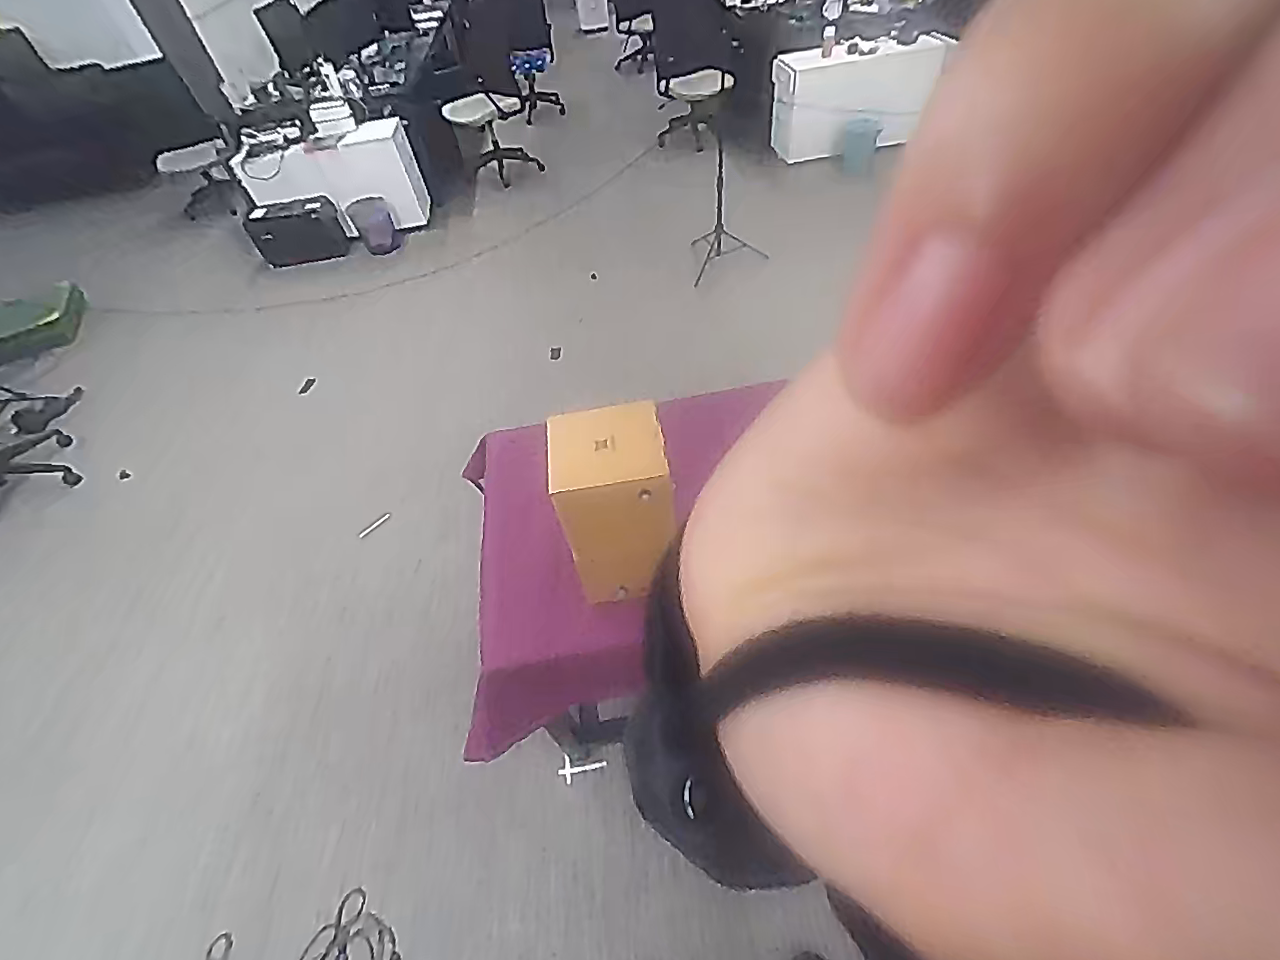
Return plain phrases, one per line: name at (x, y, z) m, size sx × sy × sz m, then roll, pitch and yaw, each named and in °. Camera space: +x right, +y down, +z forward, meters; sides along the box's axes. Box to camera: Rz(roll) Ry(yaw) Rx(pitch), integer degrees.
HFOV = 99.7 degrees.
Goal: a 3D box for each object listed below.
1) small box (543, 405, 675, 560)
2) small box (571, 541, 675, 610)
small box at (-0.048, 0.009, 0.861) m, size 0.179 × 0.176 × 0.168 m, roll -10°, pitch 49°, yaw 0°
small box at (-0.033, 0.111, 0.987) m, size 0.168 × 0.176 × 0.179 m, roll -11°, pitch 49°, yaw 0°
